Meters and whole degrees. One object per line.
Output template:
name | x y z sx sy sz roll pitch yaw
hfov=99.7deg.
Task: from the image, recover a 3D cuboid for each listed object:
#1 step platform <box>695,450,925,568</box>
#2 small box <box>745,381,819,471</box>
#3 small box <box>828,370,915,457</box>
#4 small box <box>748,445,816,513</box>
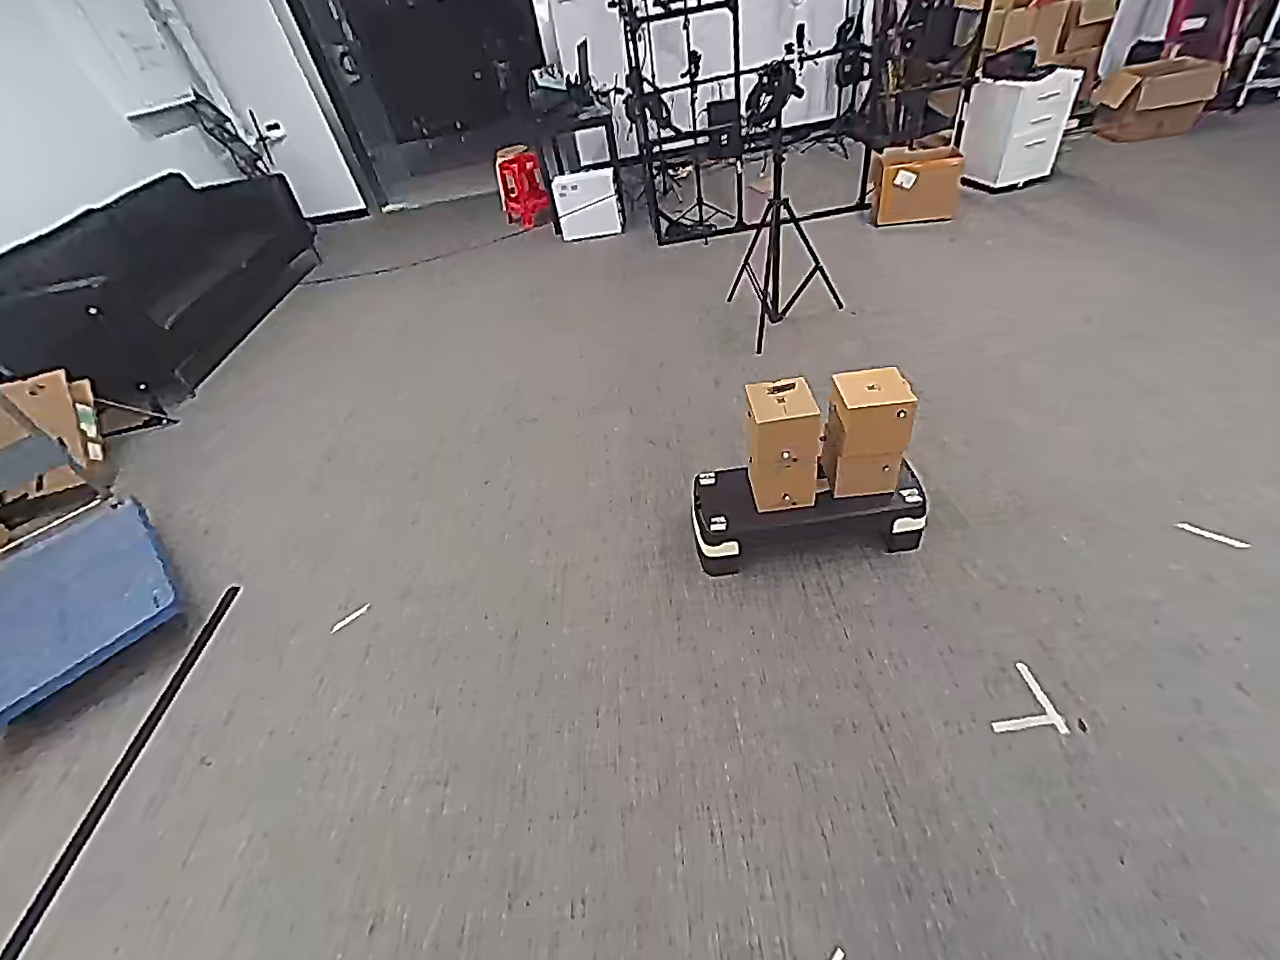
step platform | 0.521 0.075 1.725 0.684 0.204 0.286 -9 42 4
small box | 0.385 -0.149 1.494 0.168 0.176 0.179 -8 42 4
small box | 0.621 -0.178 1.475 0.179 0.176 0.168 -7 42 5
small box | 0.413 -0.027 1.601 0.168 0.176 0.179 -8 42 5
